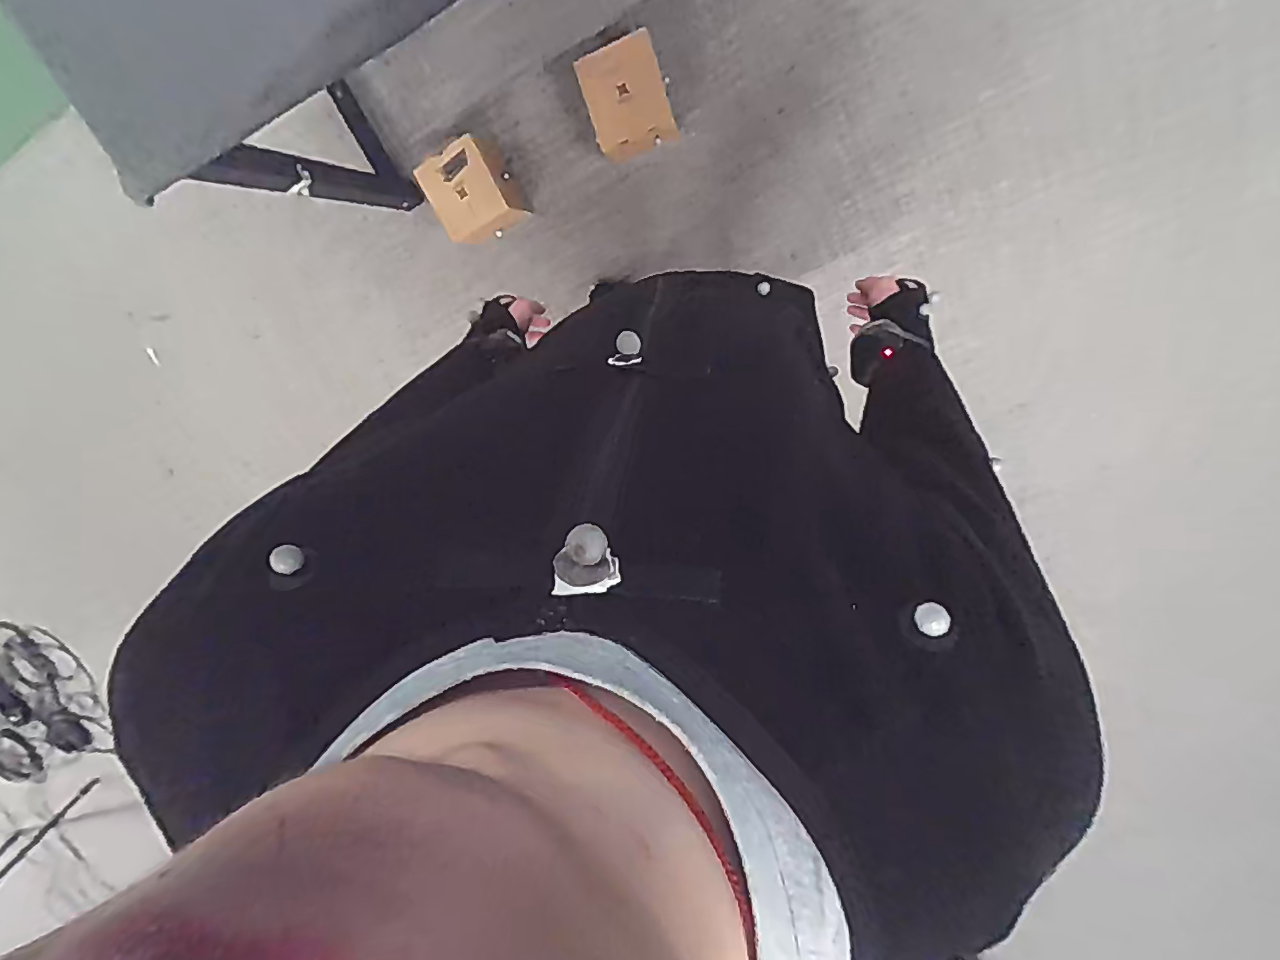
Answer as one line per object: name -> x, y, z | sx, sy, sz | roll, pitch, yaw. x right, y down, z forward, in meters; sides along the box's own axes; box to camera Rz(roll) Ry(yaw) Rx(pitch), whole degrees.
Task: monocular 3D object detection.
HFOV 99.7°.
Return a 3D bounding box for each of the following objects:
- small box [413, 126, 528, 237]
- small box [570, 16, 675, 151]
small box -> -0.399, -0.706, 1.303 | 0.168, 0.176, 0.179 | -23, 109, 18
small box -> -0.029, -0.850, 1.187 | 0.168, 0.176, 0.179 | -17, 108, 14
